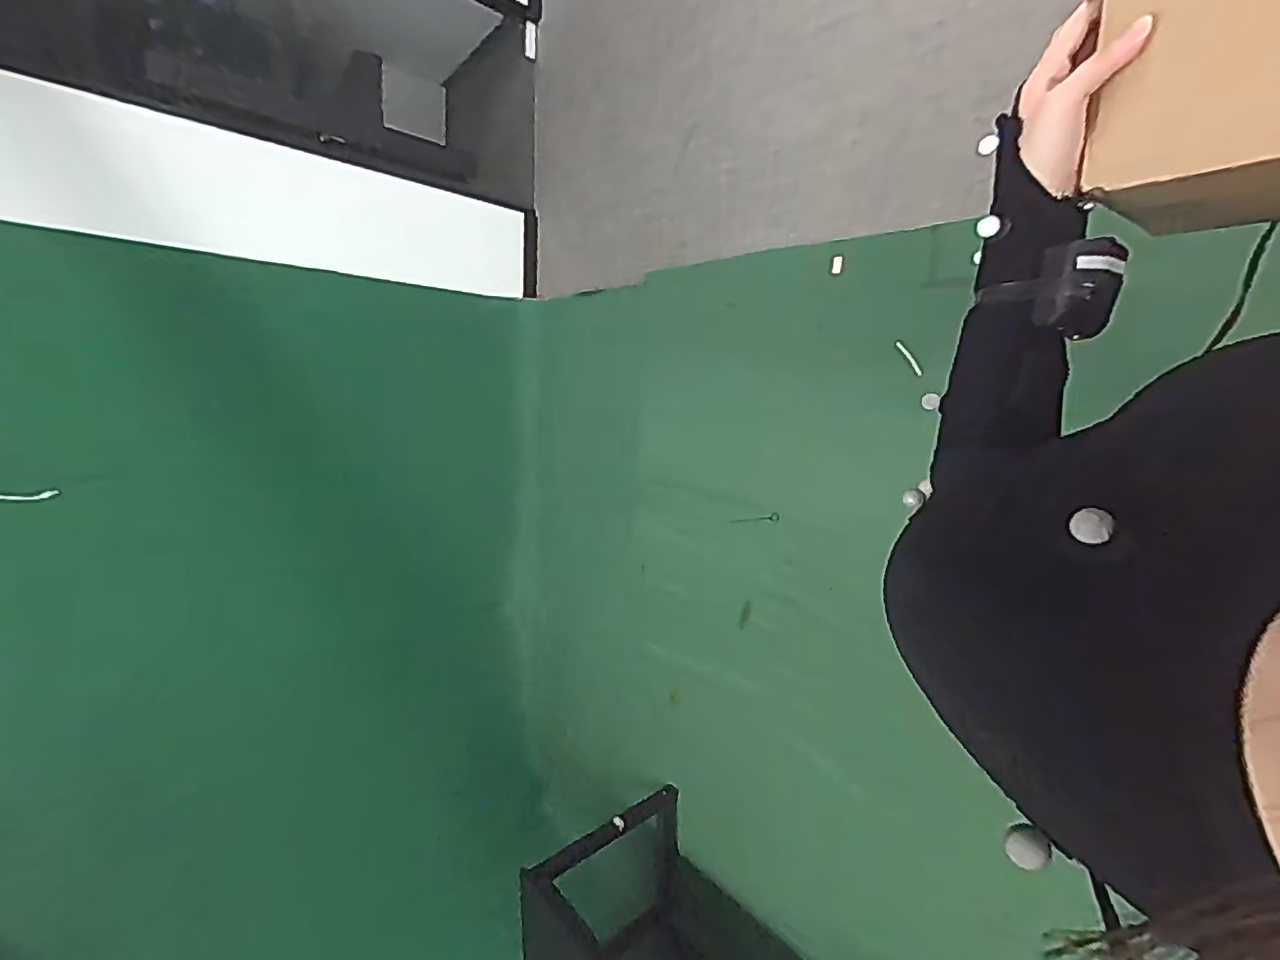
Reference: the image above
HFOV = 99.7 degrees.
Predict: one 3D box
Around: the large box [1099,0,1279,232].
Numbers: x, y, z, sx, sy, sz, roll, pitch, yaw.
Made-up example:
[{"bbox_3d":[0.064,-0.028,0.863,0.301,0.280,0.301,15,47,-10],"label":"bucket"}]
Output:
[{"bbox_3d":[0.566,-0.363,0.312,0.408,0.320,0.320,12,110,47],"label":"large box"}]
